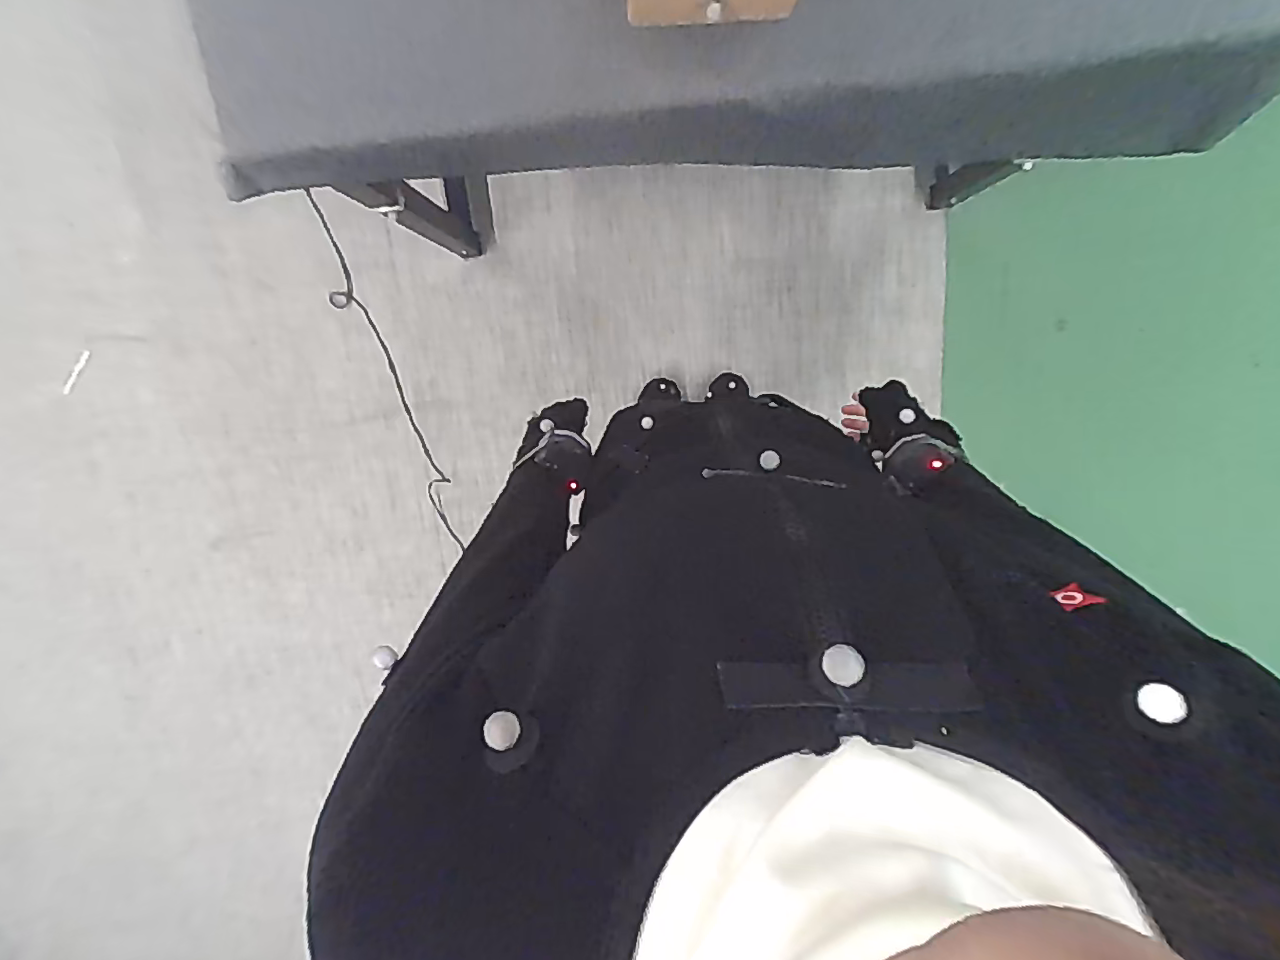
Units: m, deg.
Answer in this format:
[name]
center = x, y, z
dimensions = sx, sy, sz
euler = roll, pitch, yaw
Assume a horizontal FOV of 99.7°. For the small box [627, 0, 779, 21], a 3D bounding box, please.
[small box]
center = 0.071, -0.564, 0.492
dimensions = 0.179, 0.176, 0.168
euler = -2, 102, 1
